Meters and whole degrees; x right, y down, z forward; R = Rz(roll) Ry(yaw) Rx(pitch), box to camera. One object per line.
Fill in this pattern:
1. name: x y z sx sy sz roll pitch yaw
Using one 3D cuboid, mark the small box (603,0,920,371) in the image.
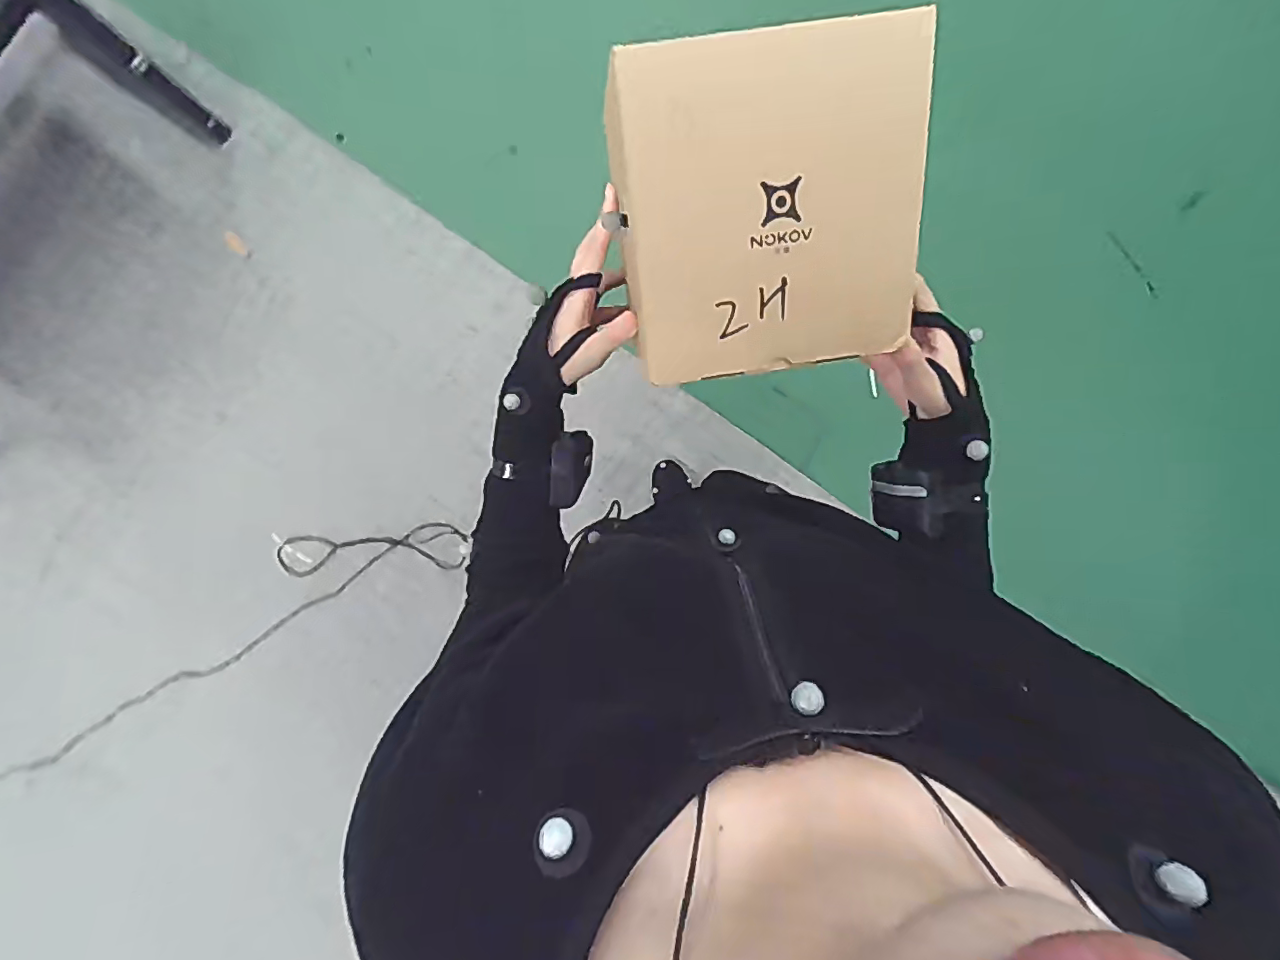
1. small box: 0.067 -0.189 0.381 0.168 0.176 0.179 -8 115 -1
